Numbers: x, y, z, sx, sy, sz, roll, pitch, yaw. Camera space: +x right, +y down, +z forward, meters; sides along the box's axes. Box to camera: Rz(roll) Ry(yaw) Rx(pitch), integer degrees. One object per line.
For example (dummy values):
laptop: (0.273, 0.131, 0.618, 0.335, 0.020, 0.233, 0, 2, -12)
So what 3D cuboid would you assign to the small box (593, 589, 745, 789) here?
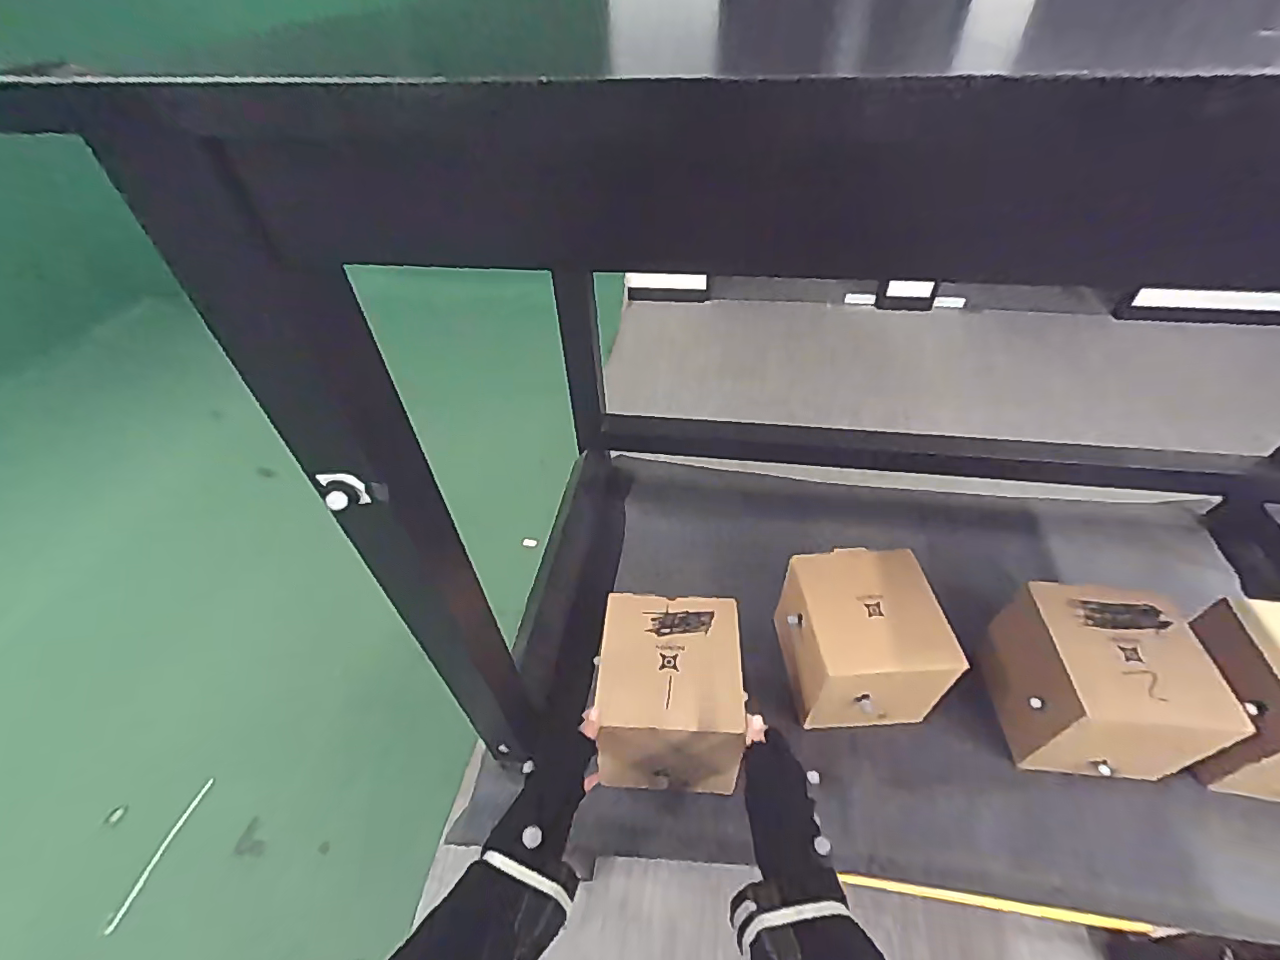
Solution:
small box: (0.038, 0.262, 0.687, 0.168, 0.176, 0.179, 1, 42, 4)
